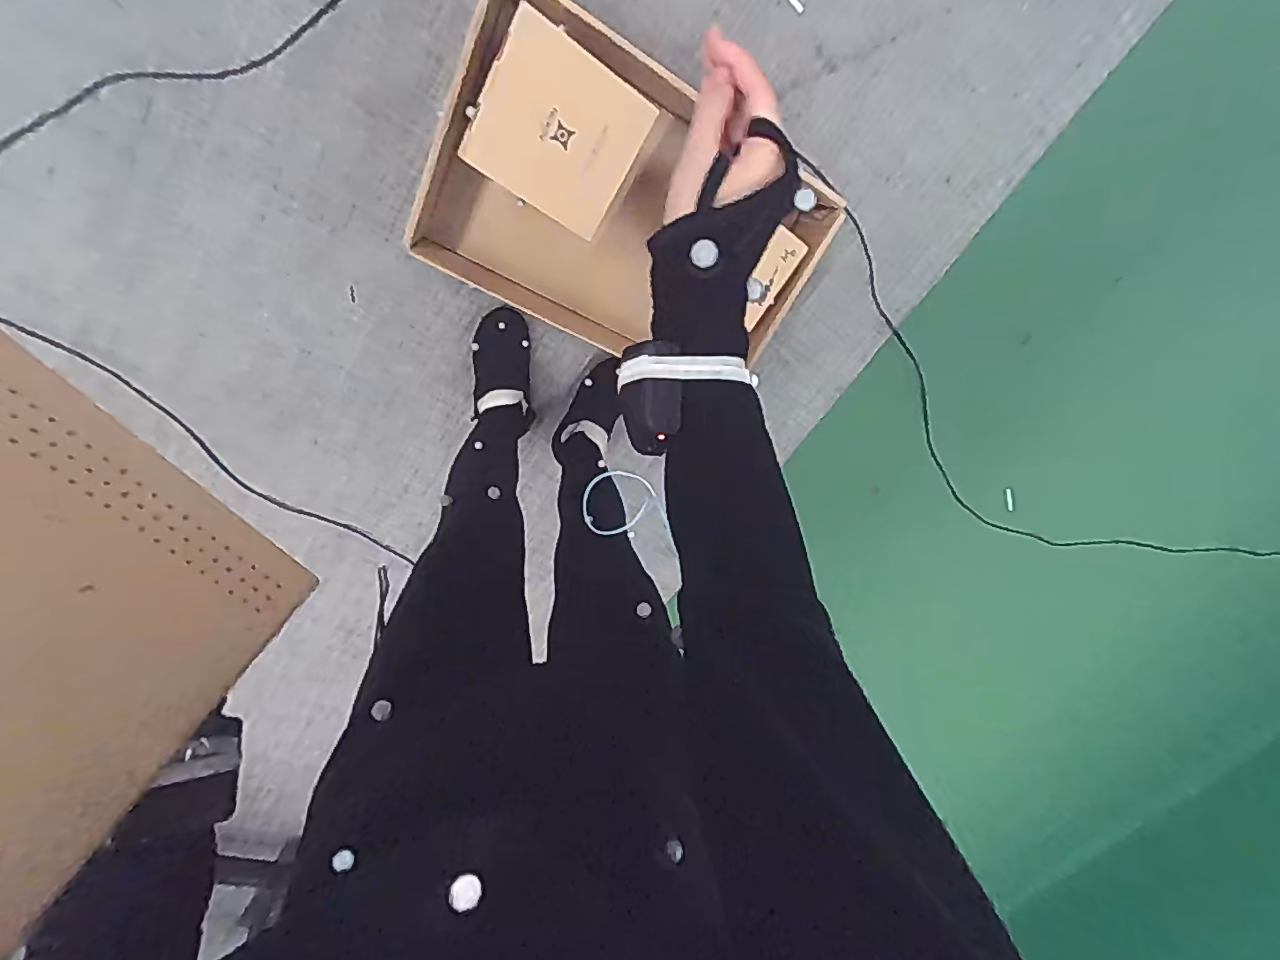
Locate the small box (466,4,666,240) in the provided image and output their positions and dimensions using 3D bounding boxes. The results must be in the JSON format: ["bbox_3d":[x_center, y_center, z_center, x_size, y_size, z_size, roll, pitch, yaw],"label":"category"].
[{"bbox_3d":[-0.097,-0.435,0.684,0.179,0.176,0.168,26,113,-25],"label":"small box"}]

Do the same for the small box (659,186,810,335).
[{"bbox_3d":[0.155,-0.388,0.954,0.179,0.176,0.168,28,111,-24],"label":"small box"}]
